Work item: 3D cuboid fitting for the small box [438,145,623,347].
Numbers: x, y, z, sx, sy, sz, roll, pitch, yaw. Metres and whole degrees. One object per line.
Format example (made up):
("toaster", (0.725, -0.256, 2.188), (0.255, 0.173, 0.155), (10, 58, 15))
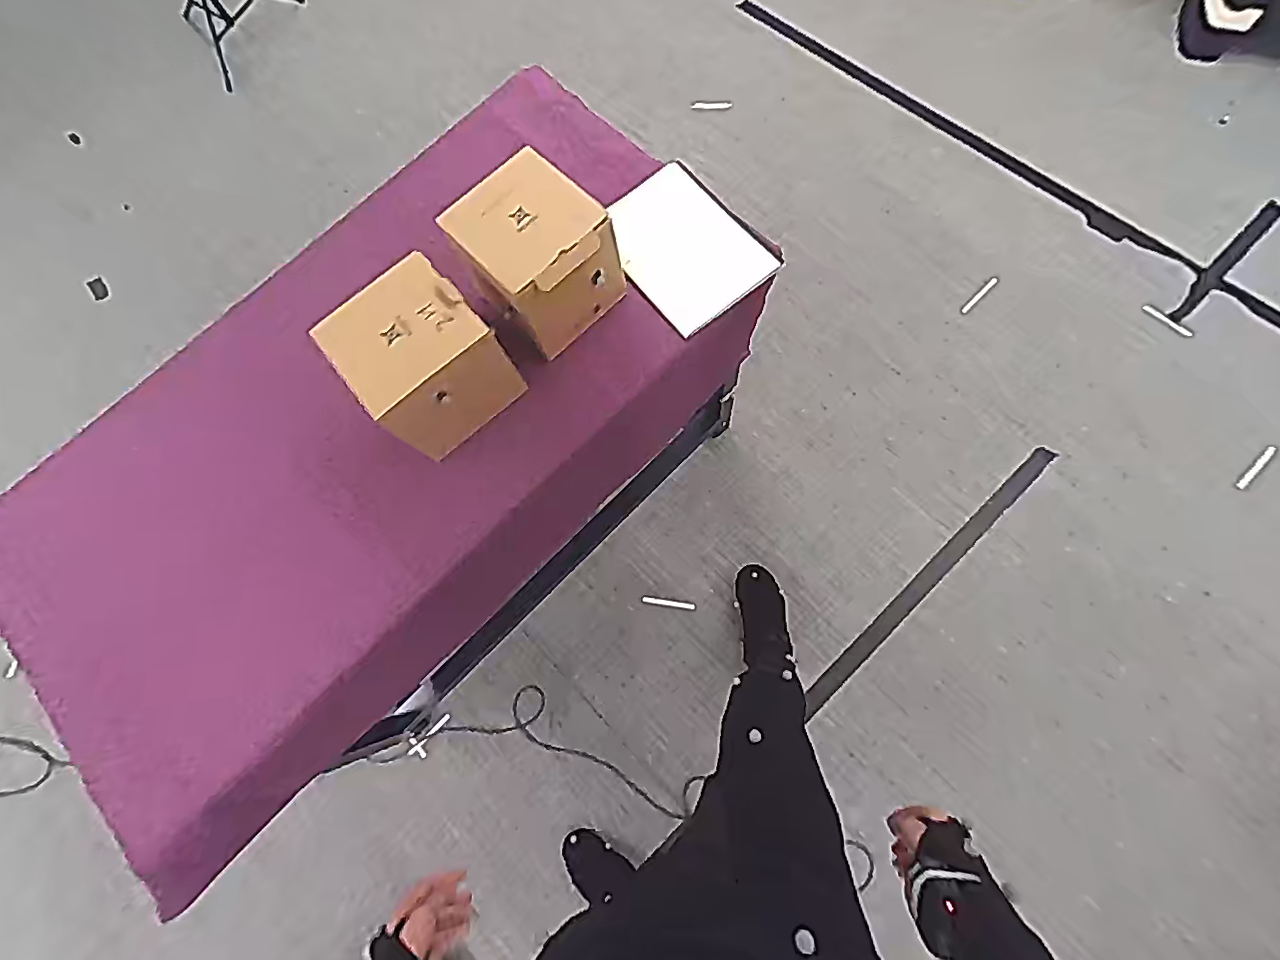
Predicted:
("small box", (-0.142, -0.316, 0.772), (0.168, 0.176, 0.179), (-42, 74, -7))
